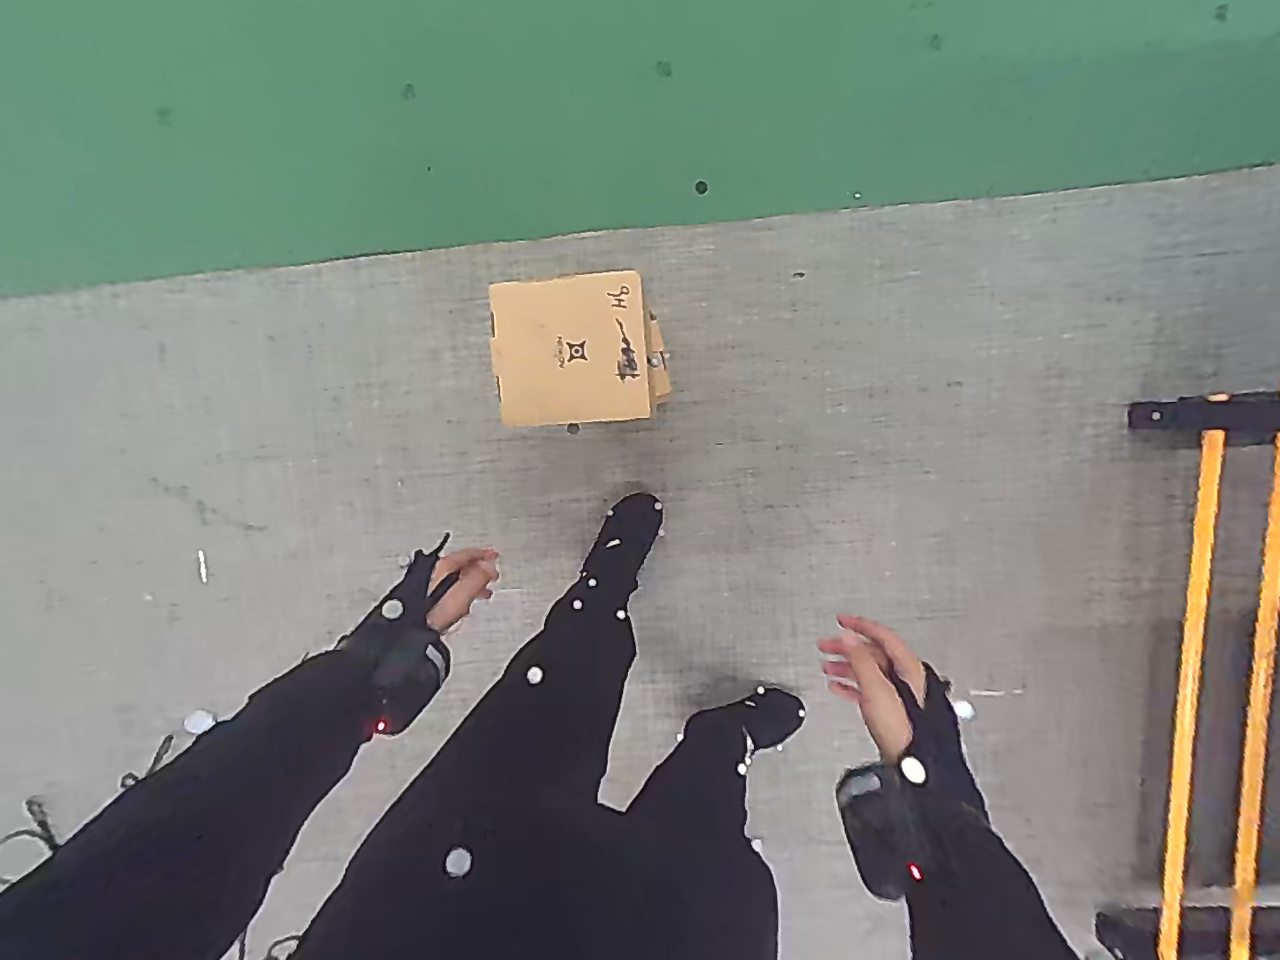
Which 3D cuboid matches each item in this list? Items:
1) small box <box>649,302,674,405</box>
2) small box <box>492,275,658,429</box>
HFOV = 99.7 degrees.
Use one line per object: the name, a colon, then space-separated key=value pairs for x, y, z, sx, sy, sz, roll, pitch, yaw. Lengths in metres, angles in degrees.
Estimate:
small box: x=-0.052 y=-0.184 z=0.858 sx=0.179 sy=0.176 sz=0.168 roll=-16 pitch=94 yaw=5
small box: x=-0.072 y=-0.152 z=0.696 sx=0.179 sy=0.176 sz=0.168 roll=-3 pitch=96 yaw=5
